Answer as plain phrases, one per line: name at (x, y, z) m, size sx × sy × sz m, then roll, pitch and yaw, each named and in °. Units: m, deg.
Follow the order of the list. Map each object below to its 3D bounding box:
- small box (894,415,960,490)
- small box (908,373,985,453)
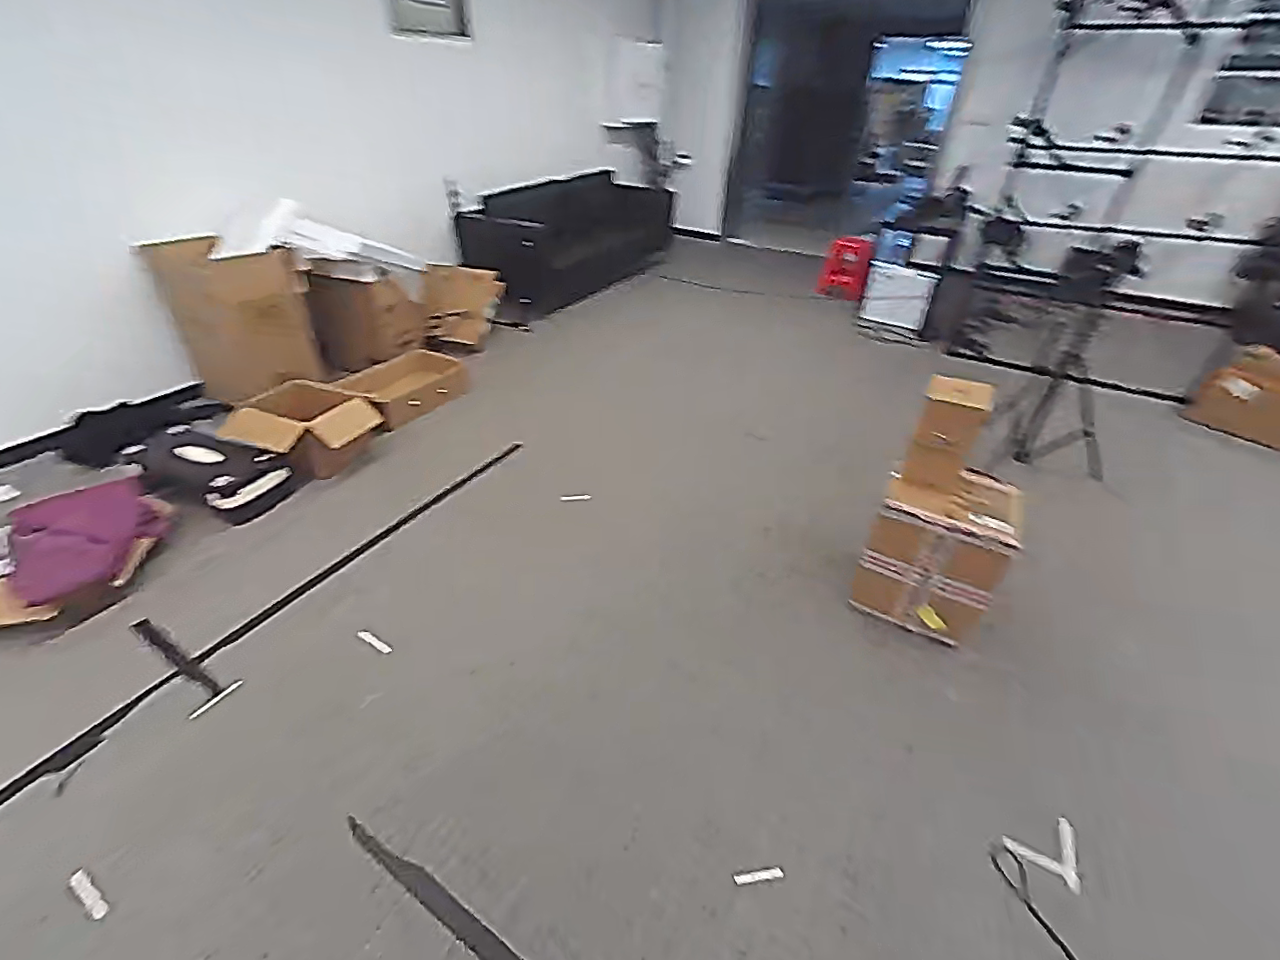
small box at (0.968, -0.095, 1.812) m, size 0.168 × 0.176 × 0.179 m, roll 18°, pitch 41°, yaw 24°
small box at (0.960, -0.212, 1.697) m, size 0.168 × 0.176 × 0.179 m, roll 17°, pitch 42°, yaw 24°
